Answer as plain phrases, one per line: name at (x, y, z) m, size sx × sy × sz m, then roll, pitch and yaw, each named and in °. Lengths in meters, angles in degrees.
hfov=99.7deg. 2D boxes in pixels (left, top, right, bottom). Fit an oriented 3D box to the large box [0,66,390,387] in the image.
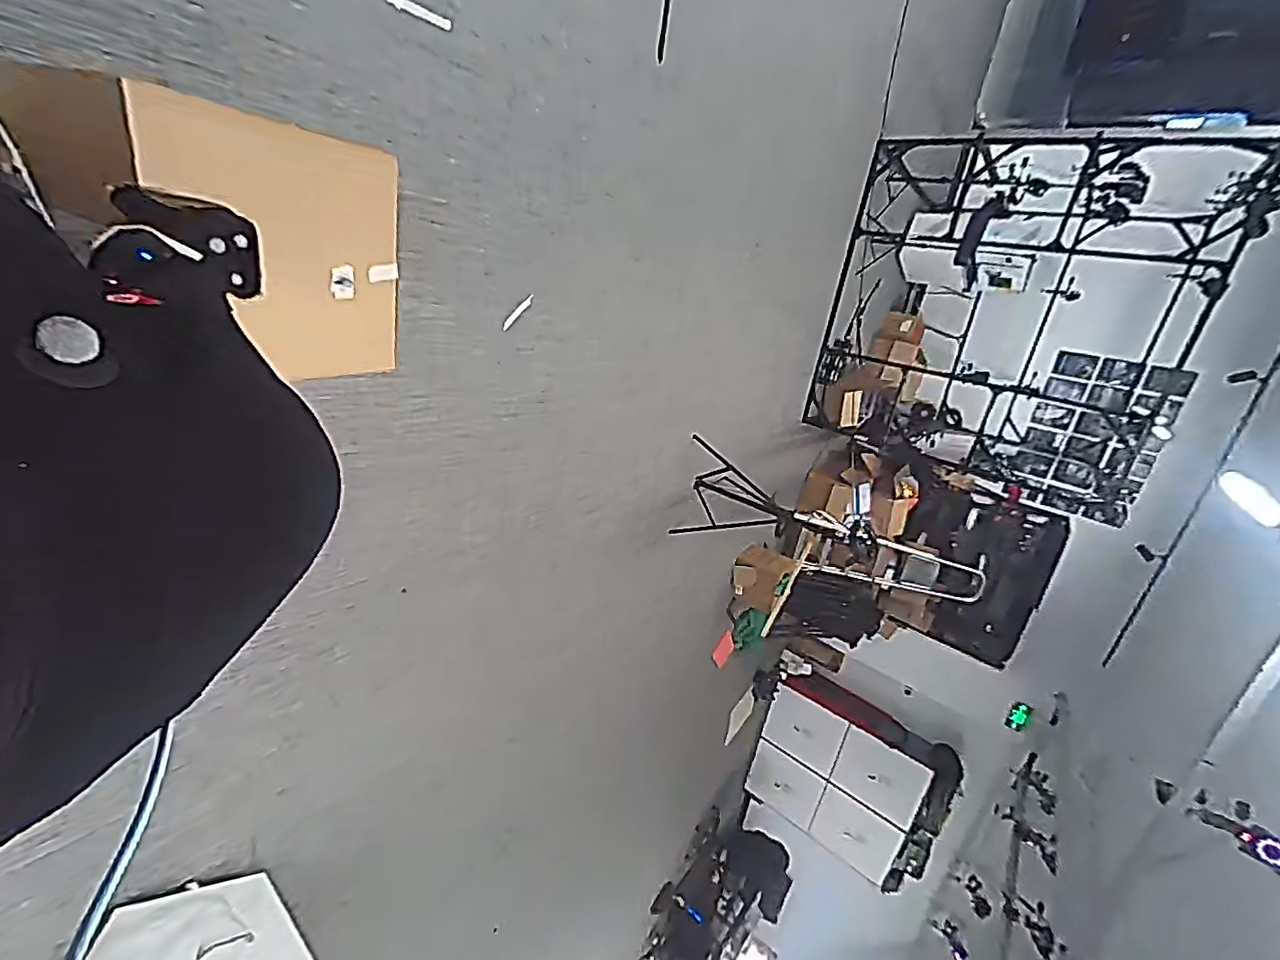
large box at (-0.622, -0.350, 0.770) m, size 0.320 × 0.408 × 0.320 m, roll -29°, pitch 136°, yaw -57°
